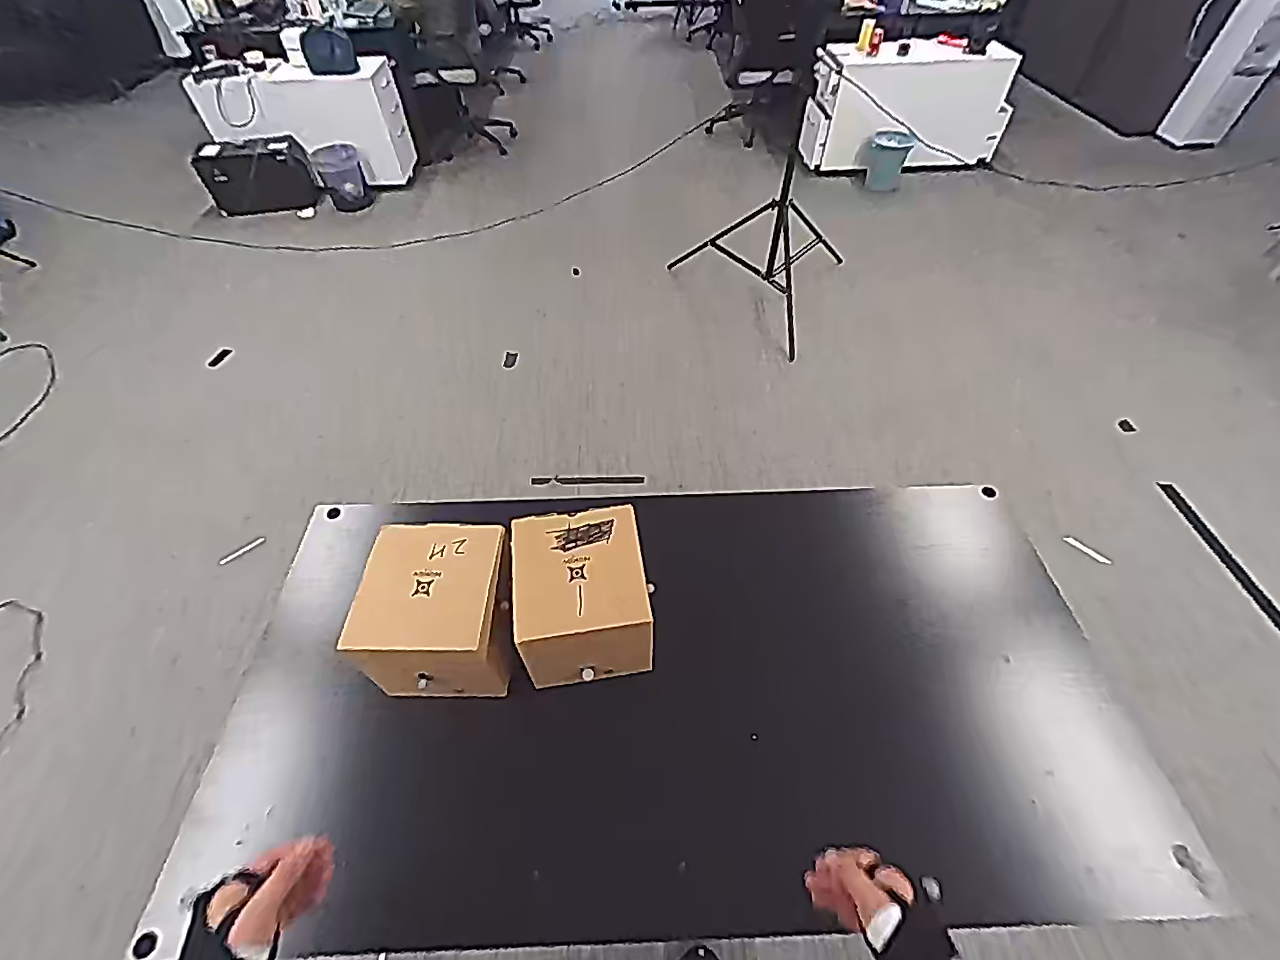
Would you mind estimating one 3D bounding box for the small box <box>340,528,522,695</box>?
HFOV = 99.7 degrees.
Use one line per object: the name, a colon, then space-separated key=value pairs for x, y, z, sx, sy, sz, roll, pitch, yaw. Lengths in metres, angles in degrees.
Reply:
small box: x=-0.265 y=0.183 z=0.737 sx=0.168 sy=0.176 sz=0.179 roll=0 pitch=50 yaw=0
